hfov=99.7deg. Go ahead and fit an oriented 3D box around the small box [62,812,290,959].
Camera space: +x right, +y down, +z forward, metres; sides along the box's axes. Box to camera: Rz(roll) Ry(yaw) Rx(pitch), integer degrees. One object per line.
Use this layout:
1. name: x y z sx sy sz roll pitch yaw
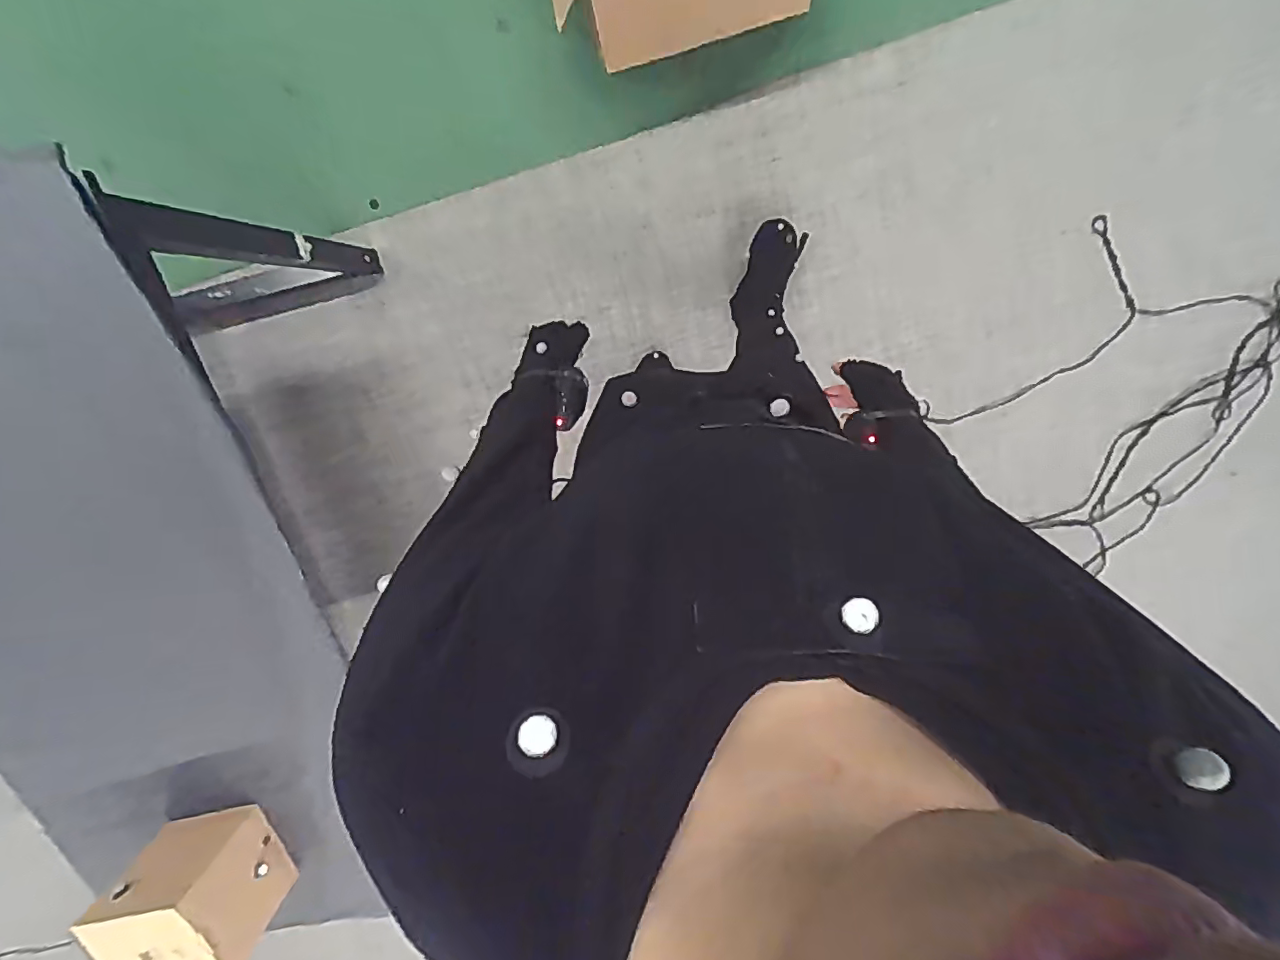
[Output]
1. small box: -0.704 0.662 0.844 0.179 0.176 0.168 -14 106 5
